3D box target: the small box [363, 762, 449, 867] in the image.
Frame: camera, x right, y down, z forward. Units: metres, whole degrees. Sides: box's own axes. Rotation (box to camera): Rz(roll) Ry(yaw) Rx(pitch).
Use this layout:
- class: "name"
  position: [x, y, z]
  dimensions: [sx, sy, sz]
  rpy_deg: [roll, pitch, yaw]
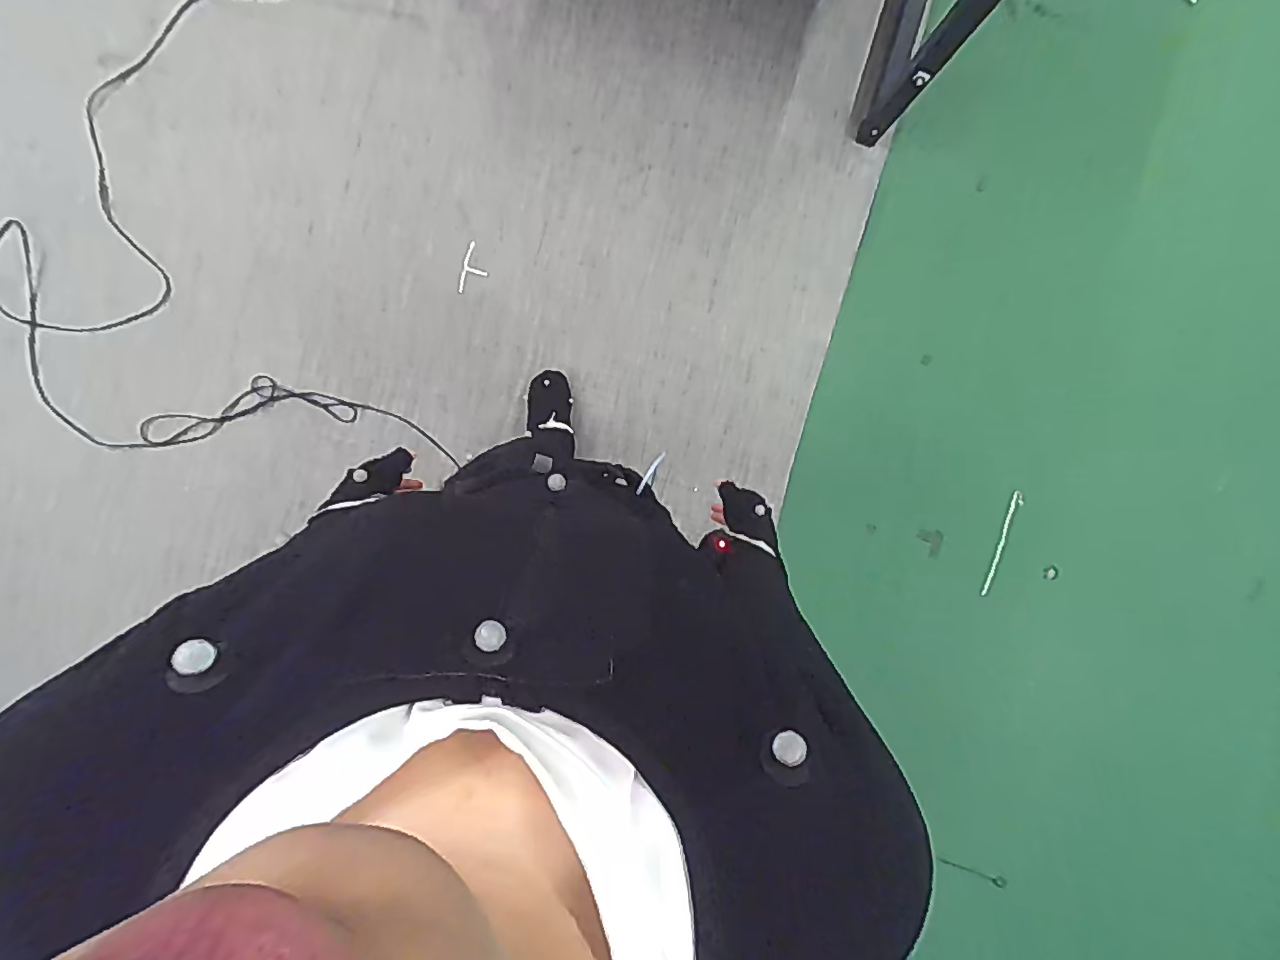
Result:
- class: "small box"
  position: [-0.598, 0.852, 1.359]
  dimensions: [0.168, 0.176, 0.179]
  rpy_deg: [16, 94, -5]
